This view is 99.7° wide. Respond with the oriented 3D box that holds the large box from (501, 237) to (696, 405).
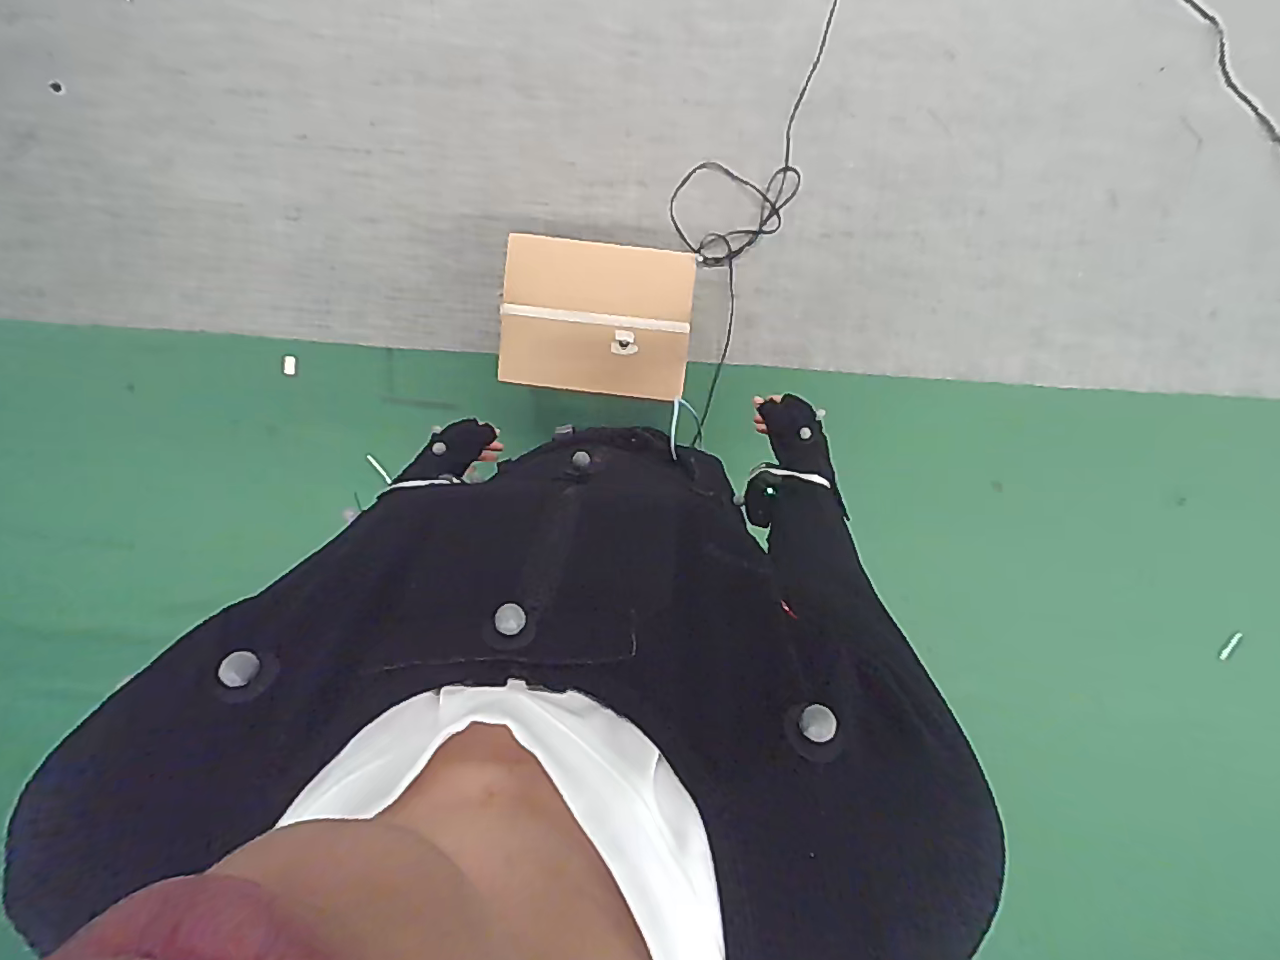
[{"bbox_3d":[-0.094,-0.359,1.305,0.408,0.320,0.320,6,96,-1],"label":"large box"}]
